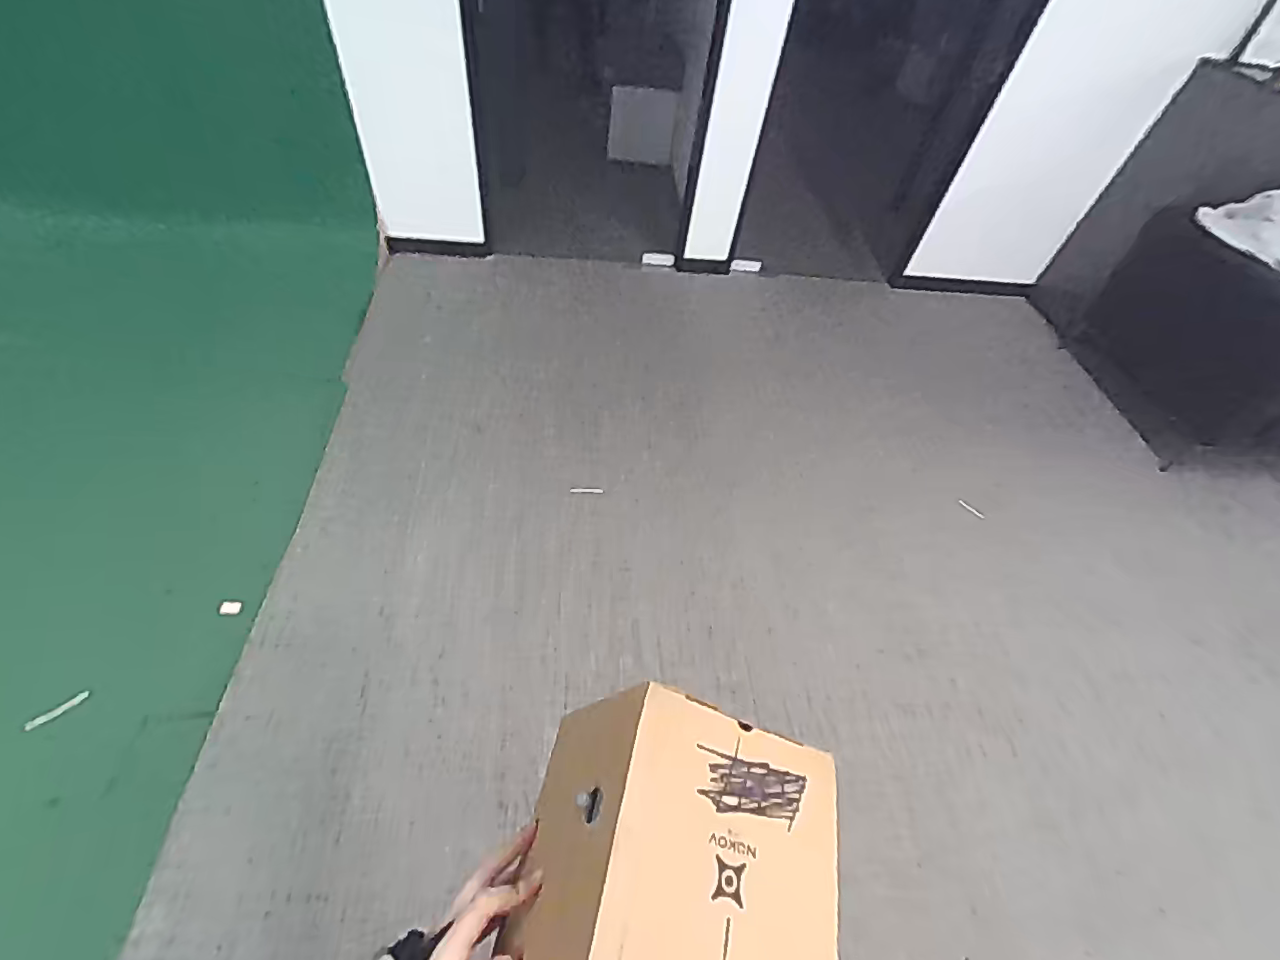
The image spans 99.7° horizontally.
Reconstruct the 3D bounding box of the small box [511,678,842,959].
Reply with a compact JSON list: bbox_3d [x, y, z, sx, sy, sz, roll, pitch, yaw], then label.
[{"bbox_3d":[0.024,0.274,0.398,0.168,0.176,0.179,27,51,-15],"label":"small box"}]
